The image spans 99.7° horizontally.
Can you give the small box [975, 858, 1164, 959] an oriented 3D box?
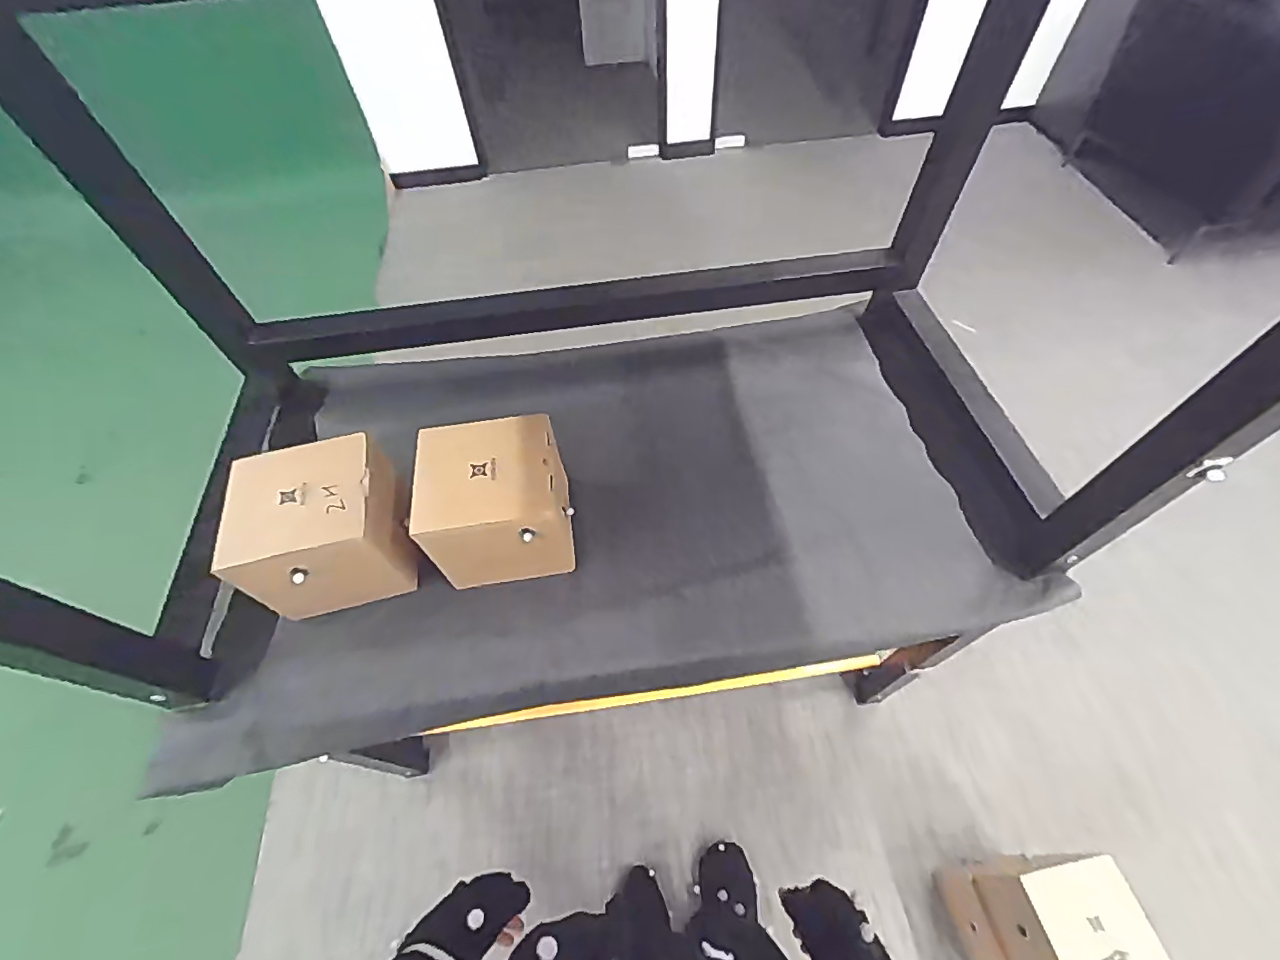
[{"bbox_3d":[0.711,0.752,0.904,0.168,0.176,0.179,-10,55,-4],"label":"small box"}]
